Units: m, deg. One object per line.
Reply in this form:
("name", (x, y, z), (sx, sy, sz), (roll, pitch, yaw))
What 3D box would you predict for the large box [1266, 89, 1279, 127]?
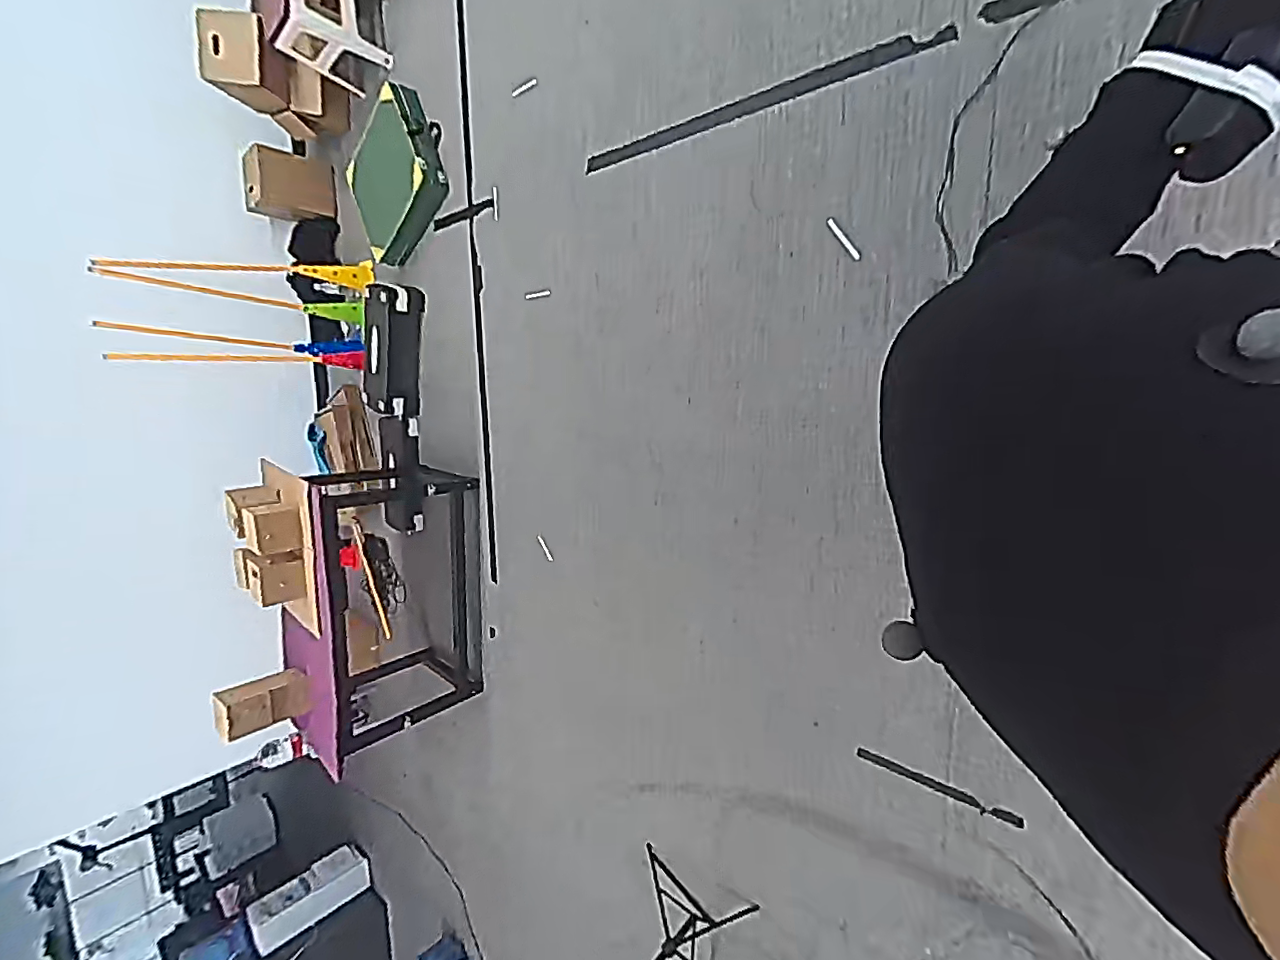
("large box", (0.656, -0.299, 0.231), (0.408, 0.320, 0.320), (43, 131, 26))
